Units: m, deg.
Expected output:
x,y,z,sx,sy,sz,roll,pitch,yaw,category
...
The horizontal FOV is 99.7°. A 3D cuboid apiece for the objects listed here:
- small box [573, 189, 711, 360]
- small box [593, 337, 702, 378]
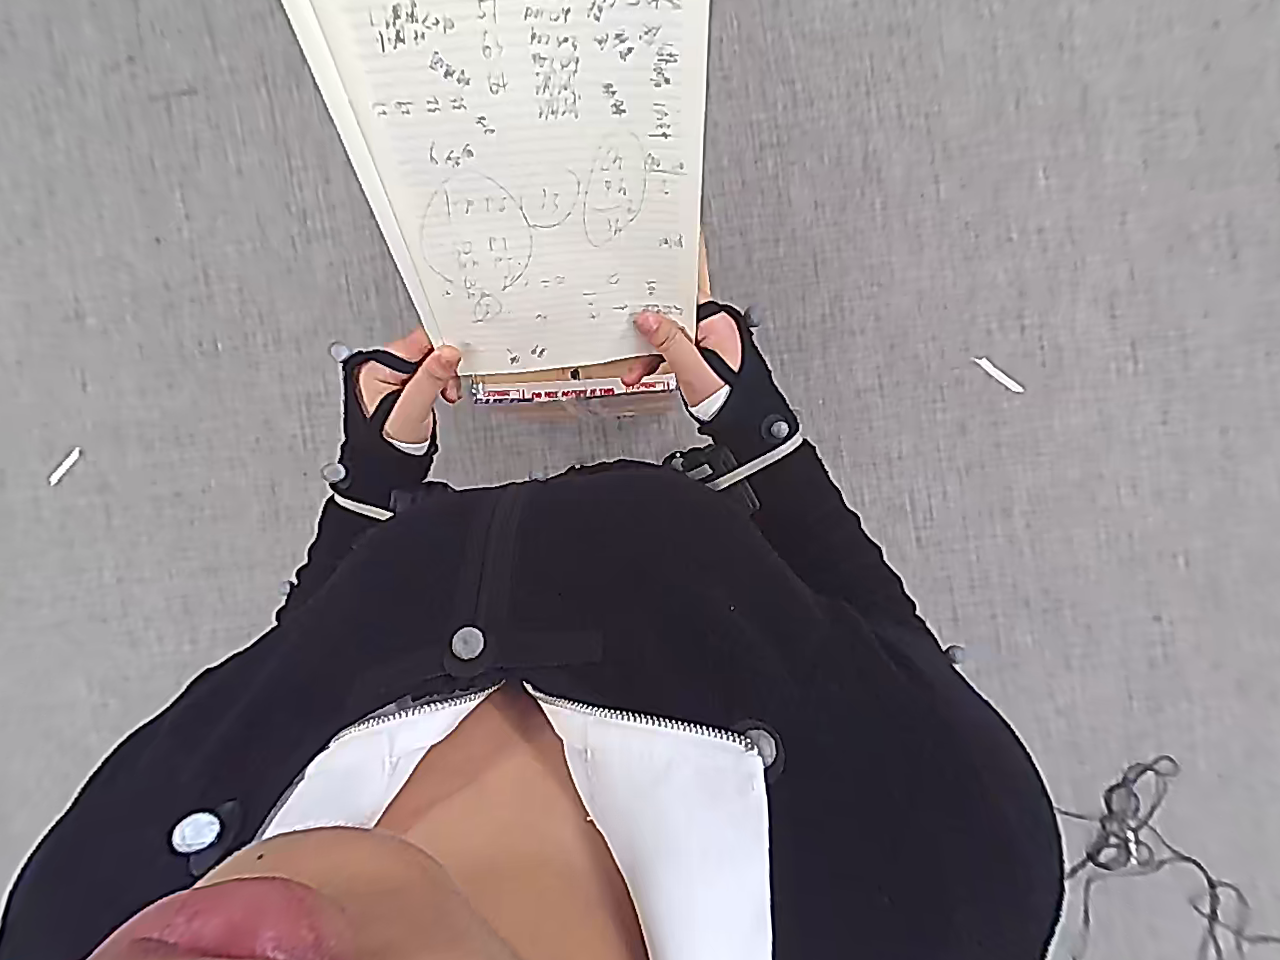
x,y,z,sx,sy,sz,roll,pitch,yaw,category
-0.001,-0.282,0.775,0.168,0.176,0.179,-7,92,-1,small box
0.000,-0.280,0.939,0.179,0.176,0.168,-10,92,0,small box
